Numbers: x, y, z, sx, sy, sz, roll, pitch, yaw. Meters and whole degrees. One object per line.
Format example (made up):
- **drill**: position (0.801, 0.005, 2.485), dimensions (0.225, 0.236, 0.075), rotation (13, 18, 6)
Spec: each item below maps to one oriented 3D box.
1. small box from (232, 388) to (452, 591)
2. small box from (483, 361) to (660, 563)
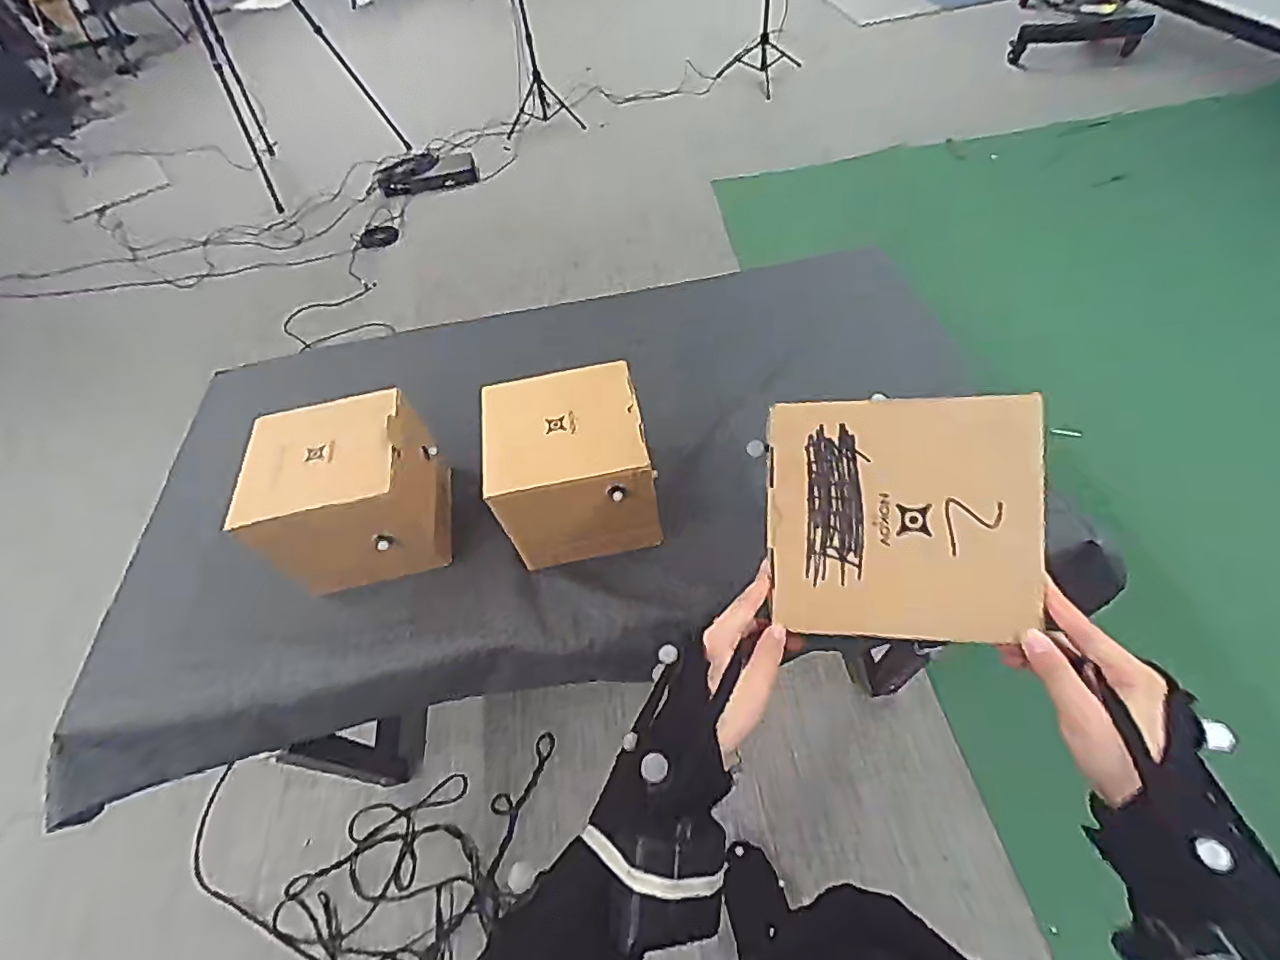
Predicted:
- **small box**: position (-0.348, 0.017, 0.675), dimensions (0.179, 0.176, 0.168), rotation (-14, 53, -2)
- **small box**: position (-0.079, -0.016, 0.664), dimensions (0.179, 0.176, 0.168), rotation (-11, 54, -1)
